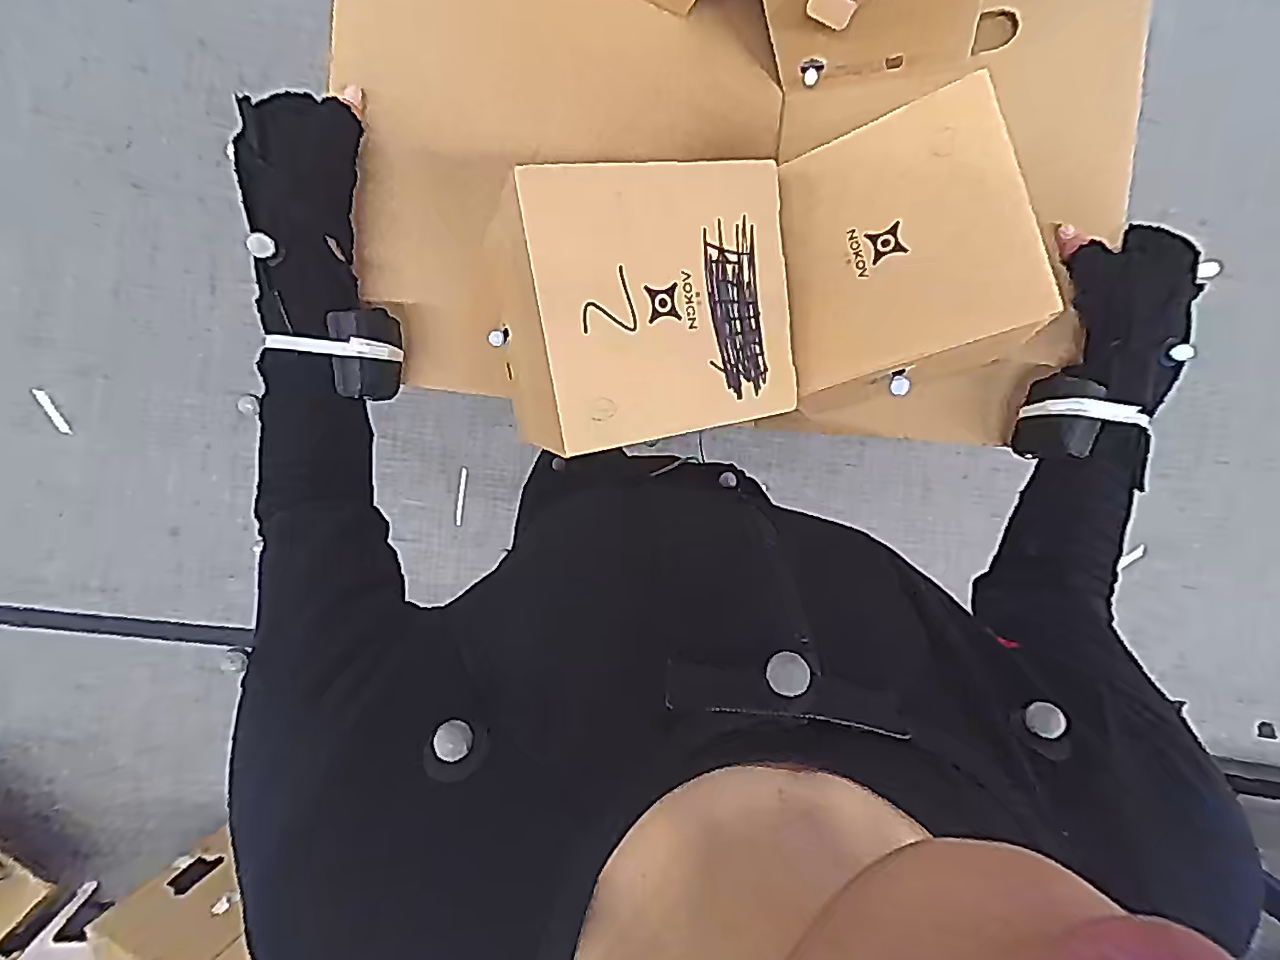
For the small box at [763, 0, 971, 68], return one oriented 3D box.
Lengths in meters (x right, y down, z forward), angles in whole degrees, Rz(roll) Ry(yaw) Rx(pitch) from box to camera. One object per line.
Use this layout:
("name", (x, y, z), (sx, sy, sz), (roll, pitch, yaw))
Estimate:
("small box", (0.196, -0.479, 0.443), (0.168, 0.176, 0.179), (9, 92, 22))
